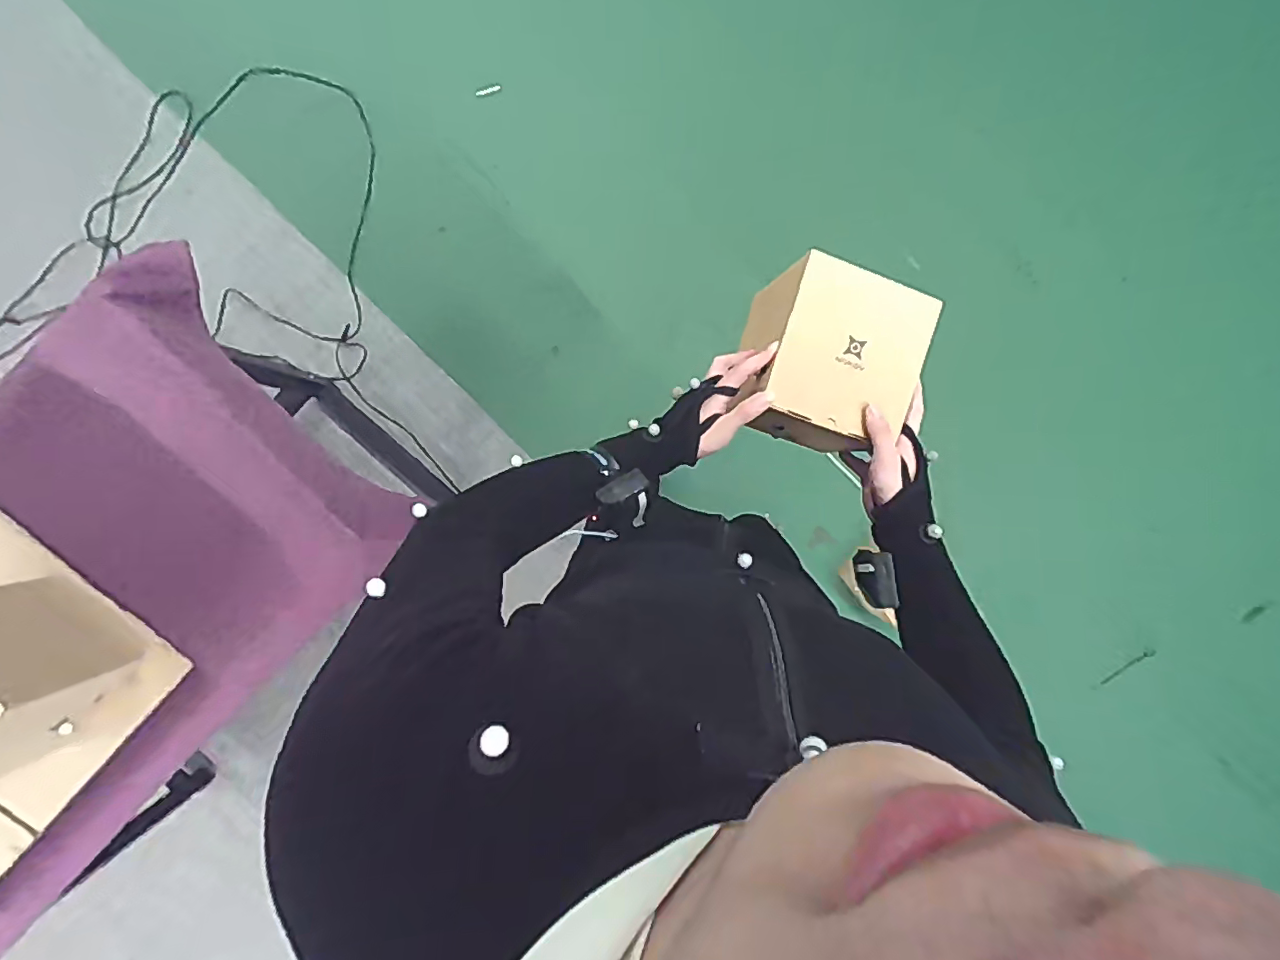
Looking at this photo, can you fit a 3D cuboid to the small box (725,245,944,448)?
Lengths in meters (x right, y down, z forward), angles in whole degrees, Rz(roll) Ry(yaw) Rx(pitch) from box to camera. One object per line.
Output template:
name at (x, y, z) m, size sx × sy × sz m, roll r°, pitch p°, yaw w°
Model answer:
small box at (0.220, -0.146, 0.656) m, size 0.168 × 0.176 × 0.179 m, roll 17°, pitch 91°, yaw -9°

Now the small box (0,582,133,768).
small box at (-0.786, 0.239, 0.640) m, size 0.179 × 0.176 × 0.168 m, roll 42°, pitch 87°, yaw -3°
